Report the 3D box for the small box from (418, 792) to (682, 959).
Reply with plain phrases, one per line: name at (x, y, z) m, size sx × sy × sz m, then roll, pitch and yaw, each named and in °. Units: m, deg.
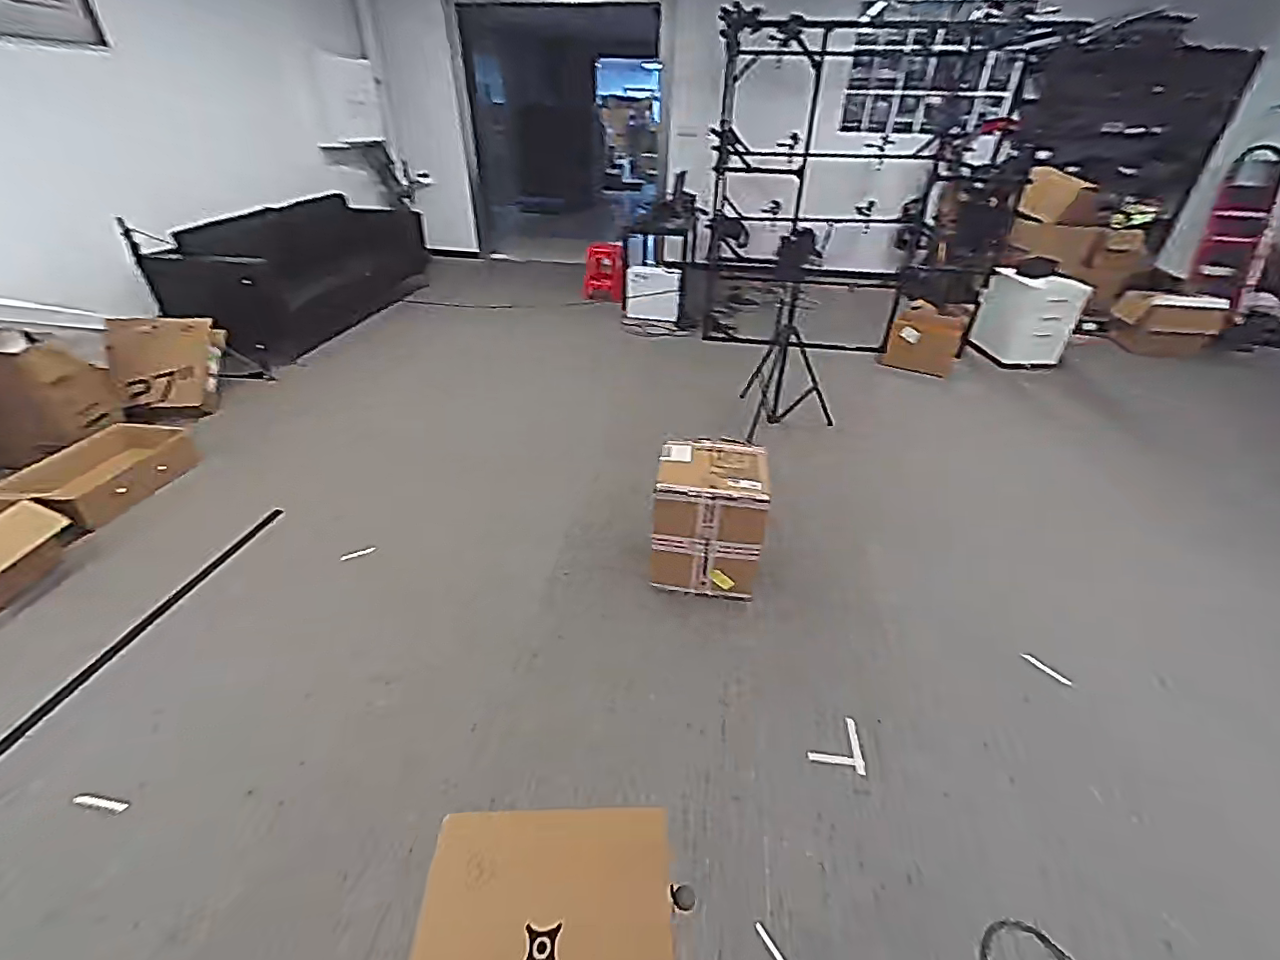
small box at (-0.054, 0.353, 0.388) m, size 0.168 × 0.176 × 0.179 m, roll -2°, pitch 39°, yaw 2°
